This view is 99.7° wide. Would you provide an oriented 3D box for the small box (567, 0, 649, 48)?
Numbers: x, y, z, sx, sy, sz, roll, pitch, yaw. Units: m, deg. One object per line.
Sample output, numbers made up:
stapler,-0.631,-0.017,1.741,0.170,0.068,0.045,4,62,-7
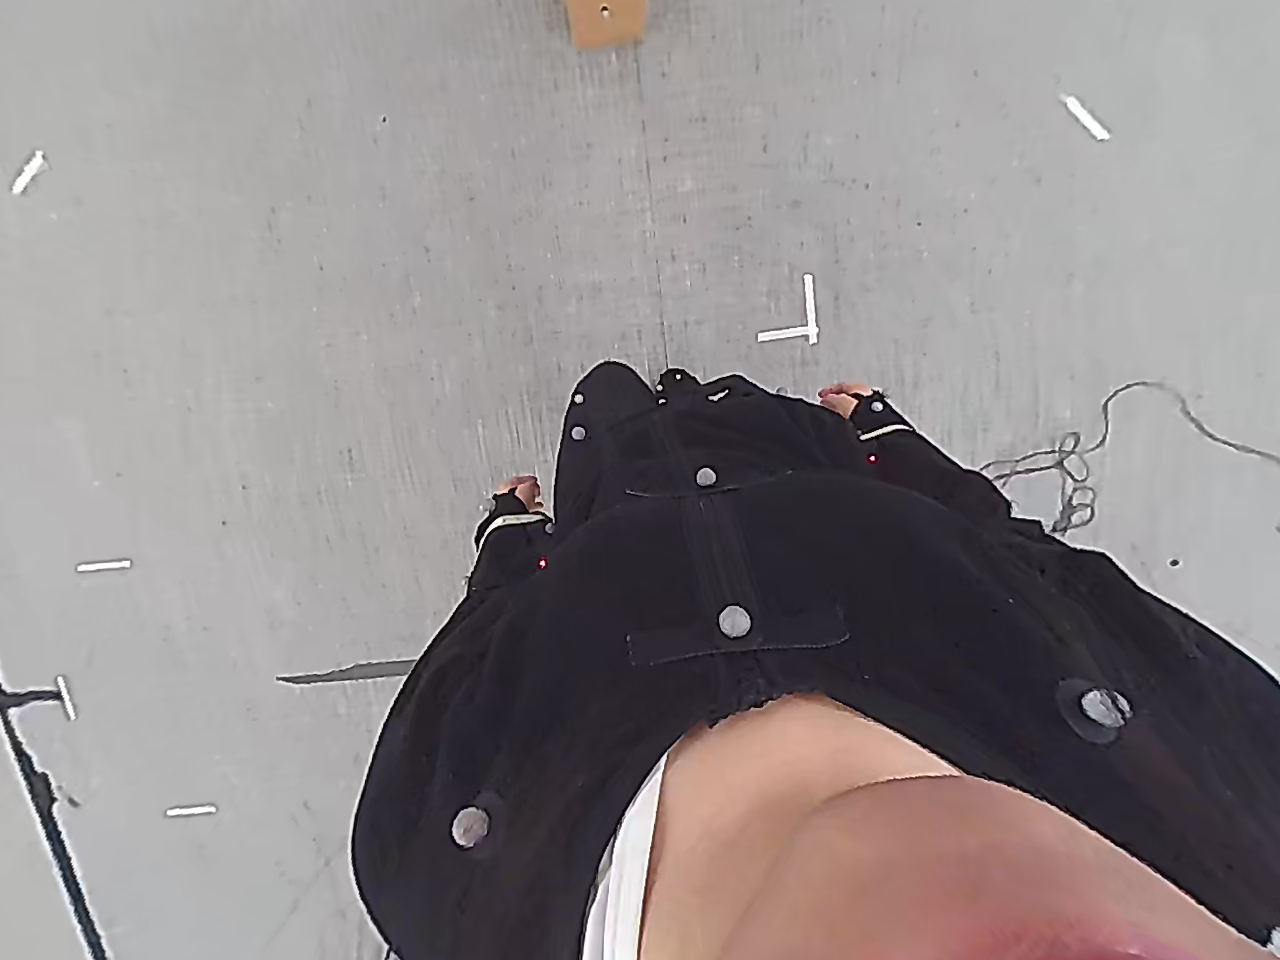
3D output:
small box,-0.074,-1.100,1.196,0.179,0.176,0.168,-6,101,1
